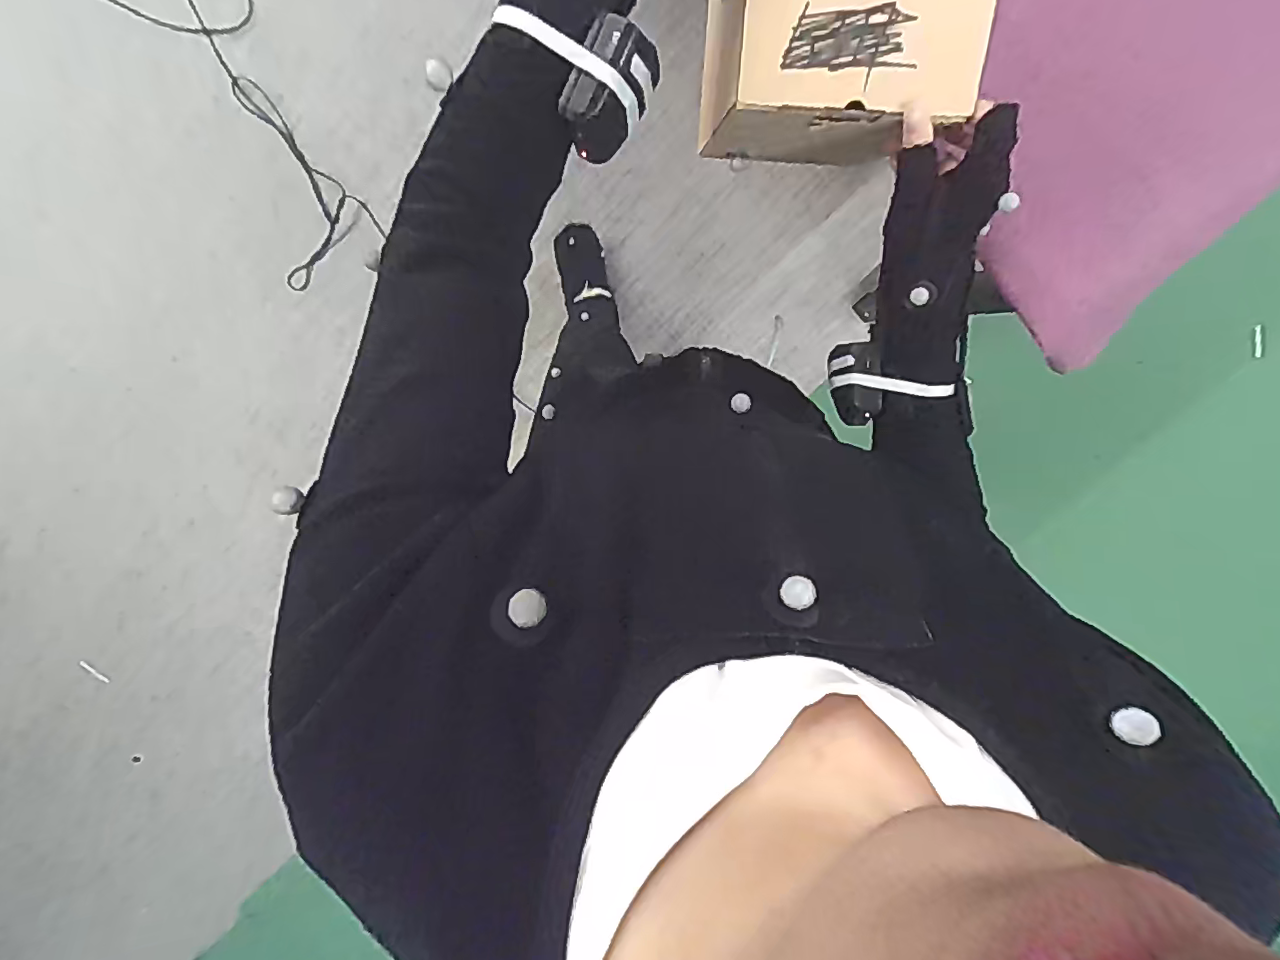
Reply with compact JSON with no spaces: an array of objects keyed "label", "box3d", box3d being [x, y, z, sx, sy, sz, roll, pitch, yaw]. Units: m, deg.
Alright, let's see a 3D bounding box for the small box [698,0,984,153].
[{"label":"small box","box3d":[0.140,-0.366,0.411,0.168,0.176,0.179,1,110,-3]}]
